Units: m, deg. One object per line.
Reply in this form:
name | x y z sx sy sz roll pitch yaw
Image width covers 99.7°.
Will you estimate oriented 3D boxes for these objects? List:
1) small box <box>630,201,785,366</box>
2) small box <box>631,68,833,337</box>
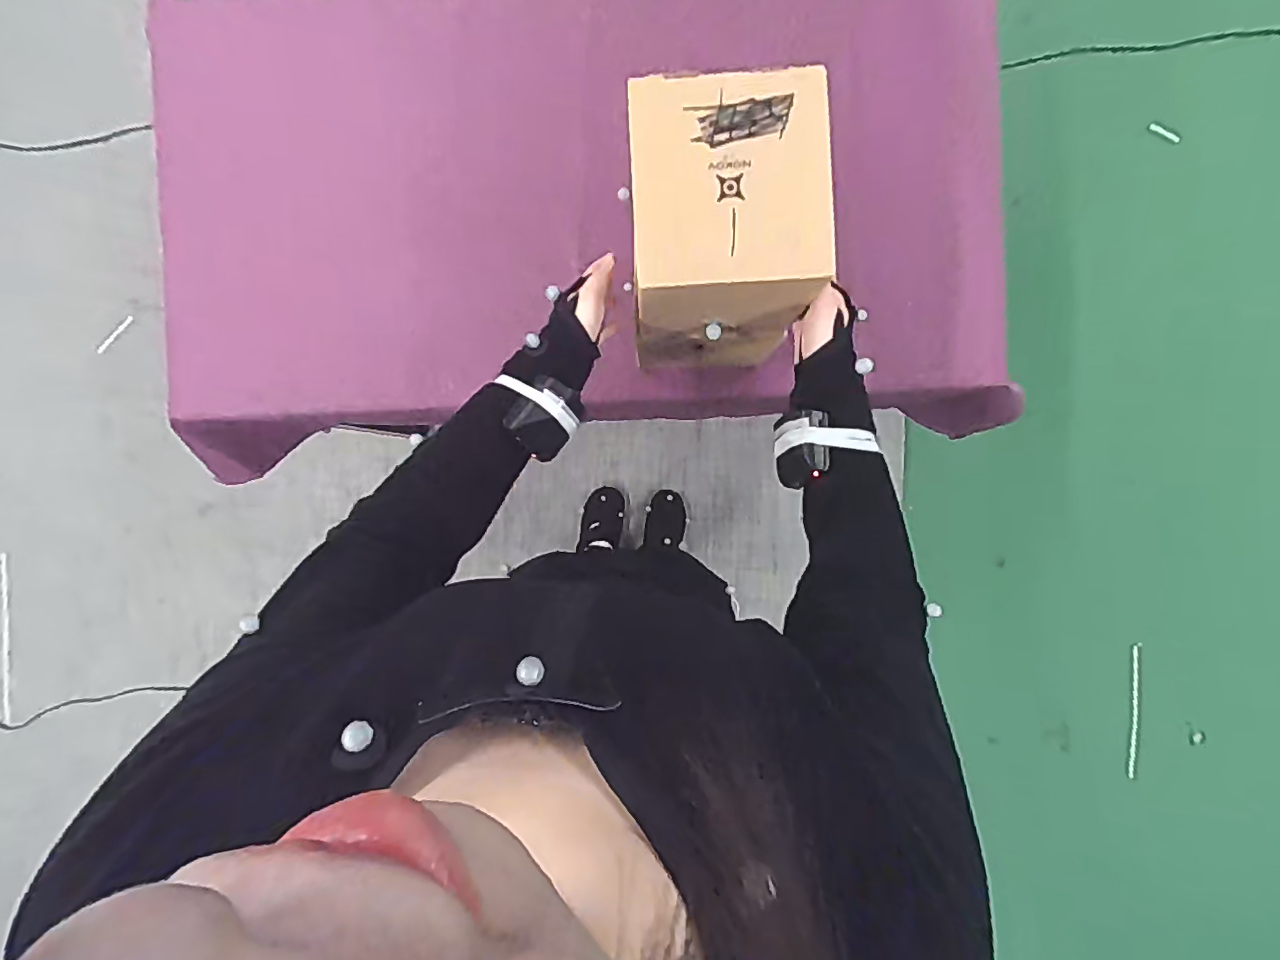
small box | 0.080 -0.242 0.689 0.179 0.176 0.168 0 91 1
small box | 0.076 -0.249 0.525 0.168 0.176 0.179 -2 91 2
